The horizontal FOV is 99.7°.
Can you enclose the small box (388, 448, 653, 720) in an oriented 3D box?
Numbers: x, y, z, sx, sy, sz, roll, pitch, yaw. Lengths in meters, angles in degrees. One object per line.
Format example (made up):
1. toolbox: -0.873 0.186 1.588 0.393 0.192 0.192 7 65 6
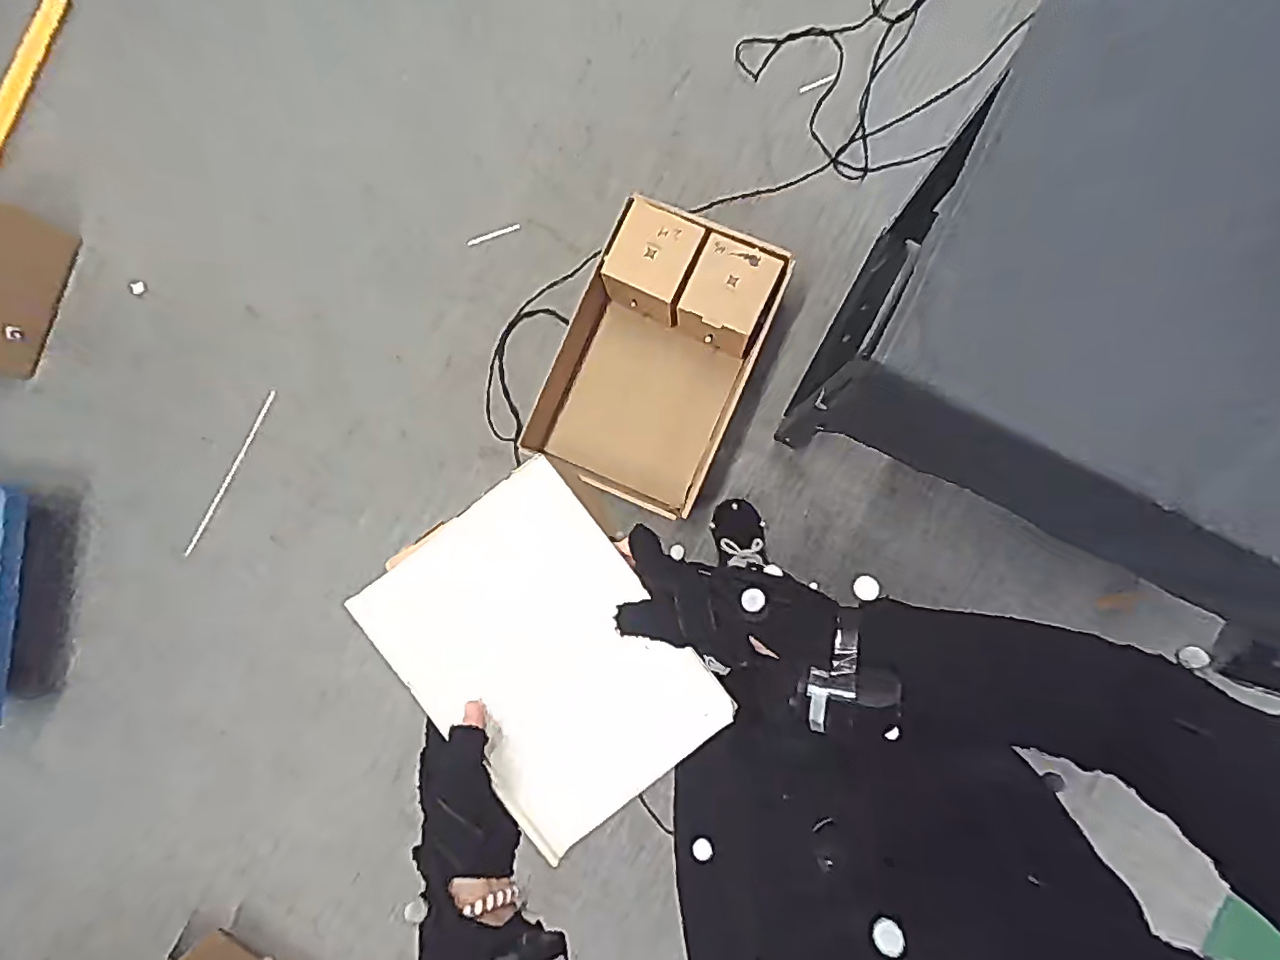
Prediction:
1. small box: -0.101 0.094 0.537 0.168 0.176 0.179 -35 84 1
